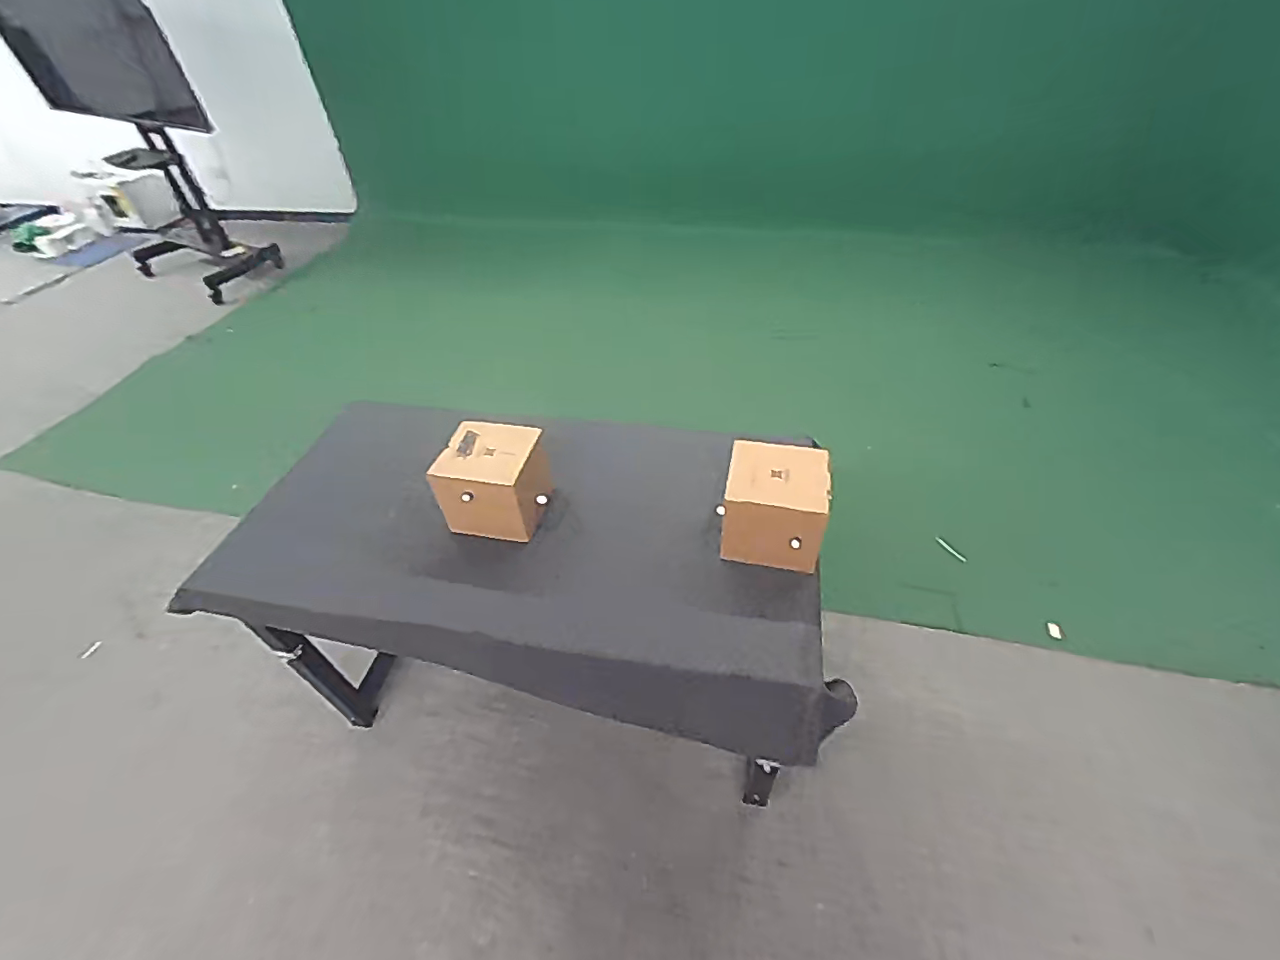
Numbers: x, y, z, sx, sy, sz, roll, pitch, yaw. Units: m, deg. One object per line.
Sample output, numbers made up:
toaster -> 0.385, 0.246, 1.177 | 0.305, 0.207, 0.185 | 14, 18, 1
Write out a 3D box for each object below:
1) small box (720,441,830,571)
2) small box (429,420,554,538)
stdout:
small box -> 0.251, 0.051, 1.012 | 0.179, 0.176, 0.168 | 7, 45, 13
small box -> -0.291, -0.001, 1.102 | 0.179, 0.176, 0.168 | 8, 46, 10
